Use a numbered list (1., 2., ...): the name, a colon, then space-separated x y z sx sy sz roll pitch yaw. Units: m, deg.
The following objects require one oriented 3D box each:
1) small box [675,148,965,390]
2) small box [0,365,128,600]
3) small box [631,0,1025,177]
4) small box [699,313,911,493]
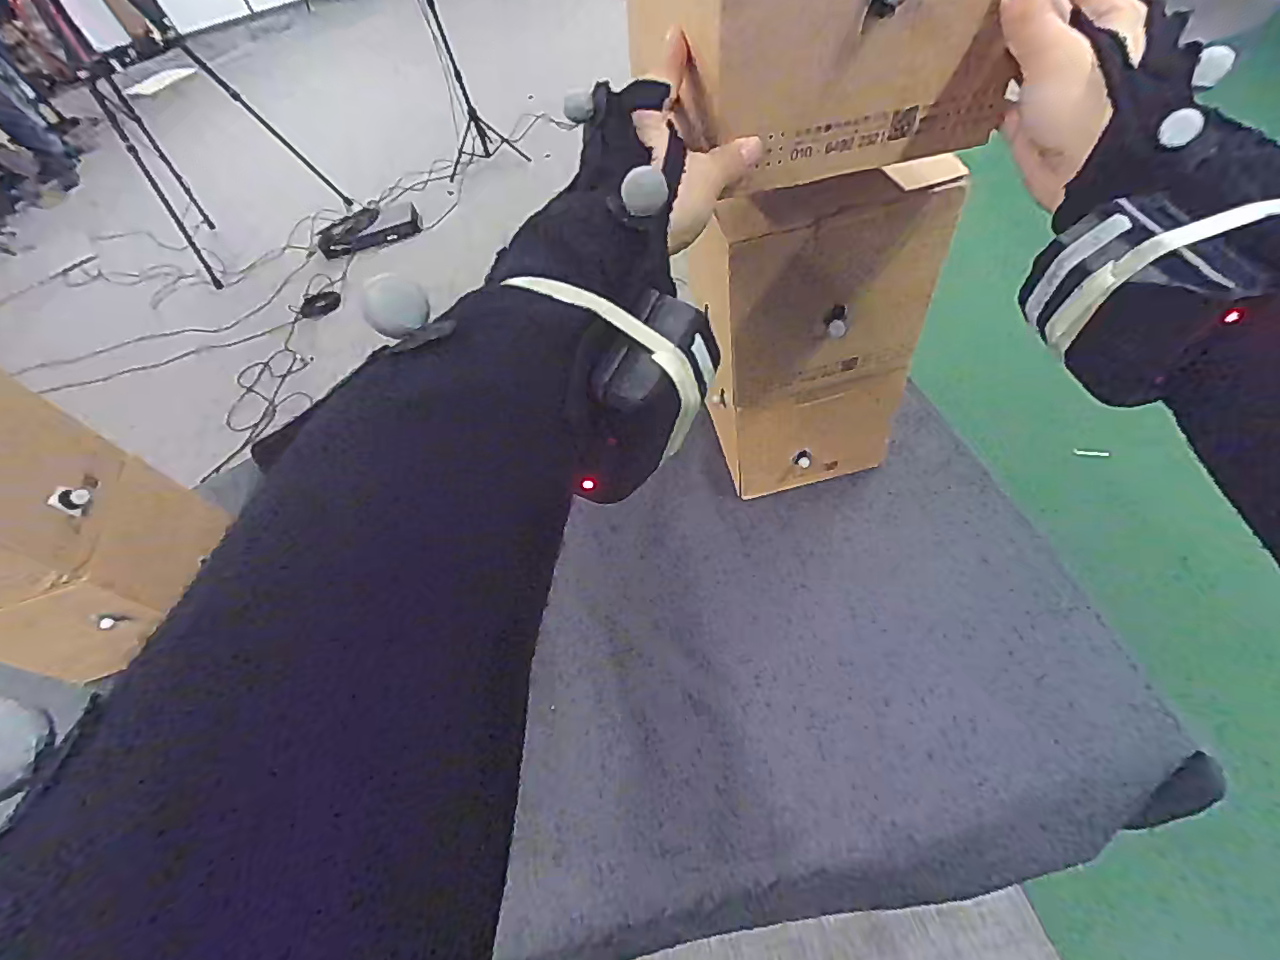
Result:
1. small box: 0.135 -0.198 0.468 0.168 0.176 0.179 -14 56 2
2. small box: -0.638 0.011 0.487 0.179 0.176 0.168 -19 56 -3
3. small box: 0.091 -0.282 0.288 0.168 0.176 0.179 -14 51 -7
4. small box: 0.165 -0.113 0.605 0.168 0.176 0.179 -14 55 2
